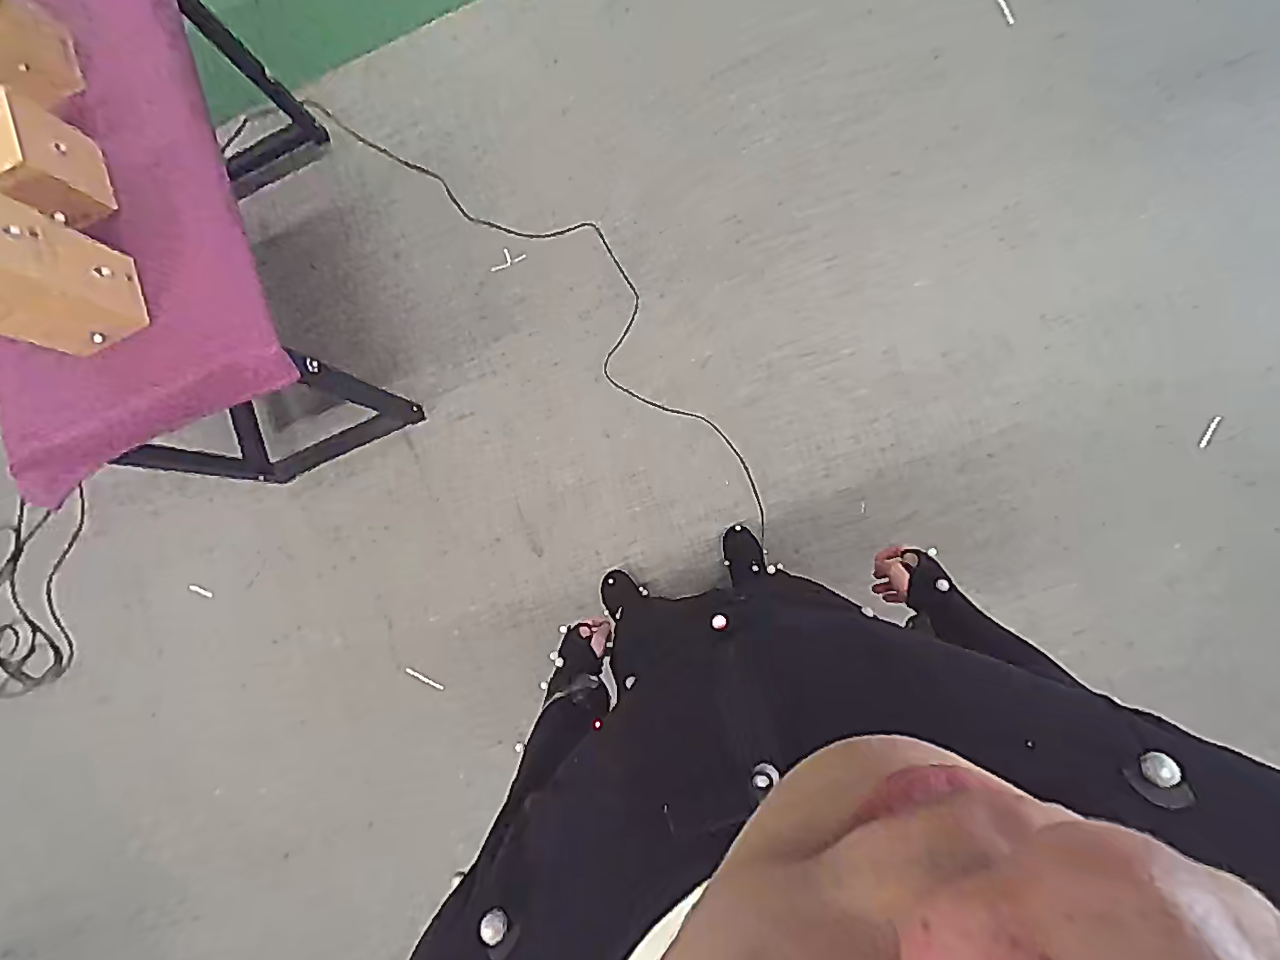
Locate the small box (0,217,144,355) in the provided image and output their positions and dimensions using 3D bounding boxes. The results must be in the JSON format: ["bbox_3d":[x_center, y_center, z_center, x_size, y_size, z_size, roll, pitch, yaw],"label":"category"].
[{"bbox_3d":[-1.144,-0.376,1.077,0.179,0.176,0.168,-23,81,5],"label":"small box"}]

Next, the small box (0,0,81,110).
[{"bbox_3d":[-1.369,-0.938,1.166,0.179,0.176,0.168,-22,81,6],"label":"small box"}]

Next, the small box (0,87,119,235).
[{"bbox_3d":[-1.249,-0.644,1.119,0.168,0.176,0.179,-23,83,6],"label":"small box"}]
